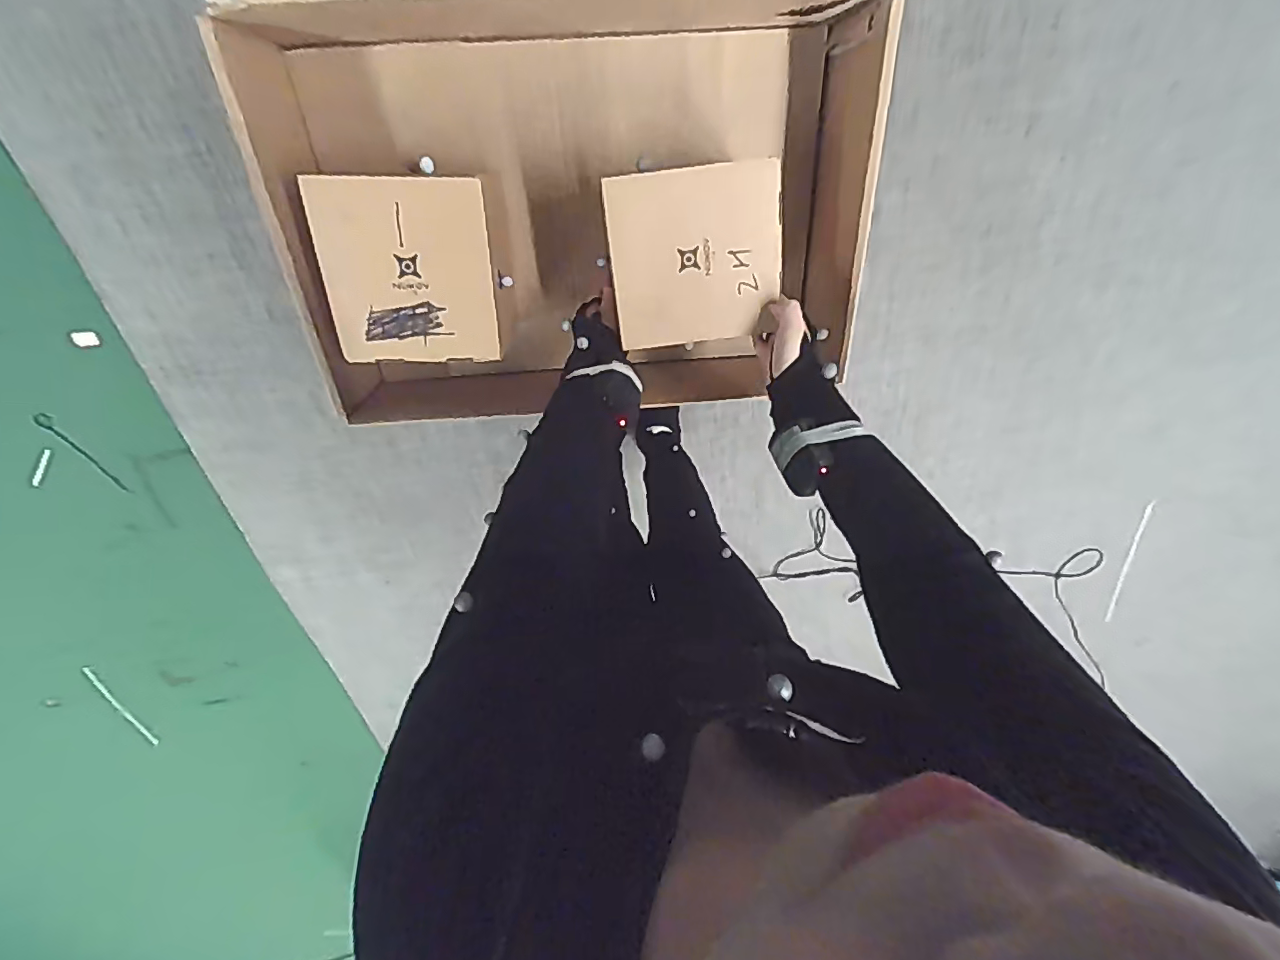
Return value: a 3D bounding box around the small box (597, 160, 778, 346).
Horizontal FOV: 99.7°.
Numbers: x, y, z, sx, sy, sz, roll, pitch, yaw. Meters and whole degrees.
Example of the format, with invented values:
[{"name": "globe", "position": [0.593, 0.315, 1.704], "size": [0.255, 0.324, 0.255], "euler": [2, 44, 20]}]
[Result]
[{"name": "small box", "position": [0.049, -0.259, 0.621], "size": [0.179, 0.176, 0.168], "euler": [-6, 116, 0]}]
